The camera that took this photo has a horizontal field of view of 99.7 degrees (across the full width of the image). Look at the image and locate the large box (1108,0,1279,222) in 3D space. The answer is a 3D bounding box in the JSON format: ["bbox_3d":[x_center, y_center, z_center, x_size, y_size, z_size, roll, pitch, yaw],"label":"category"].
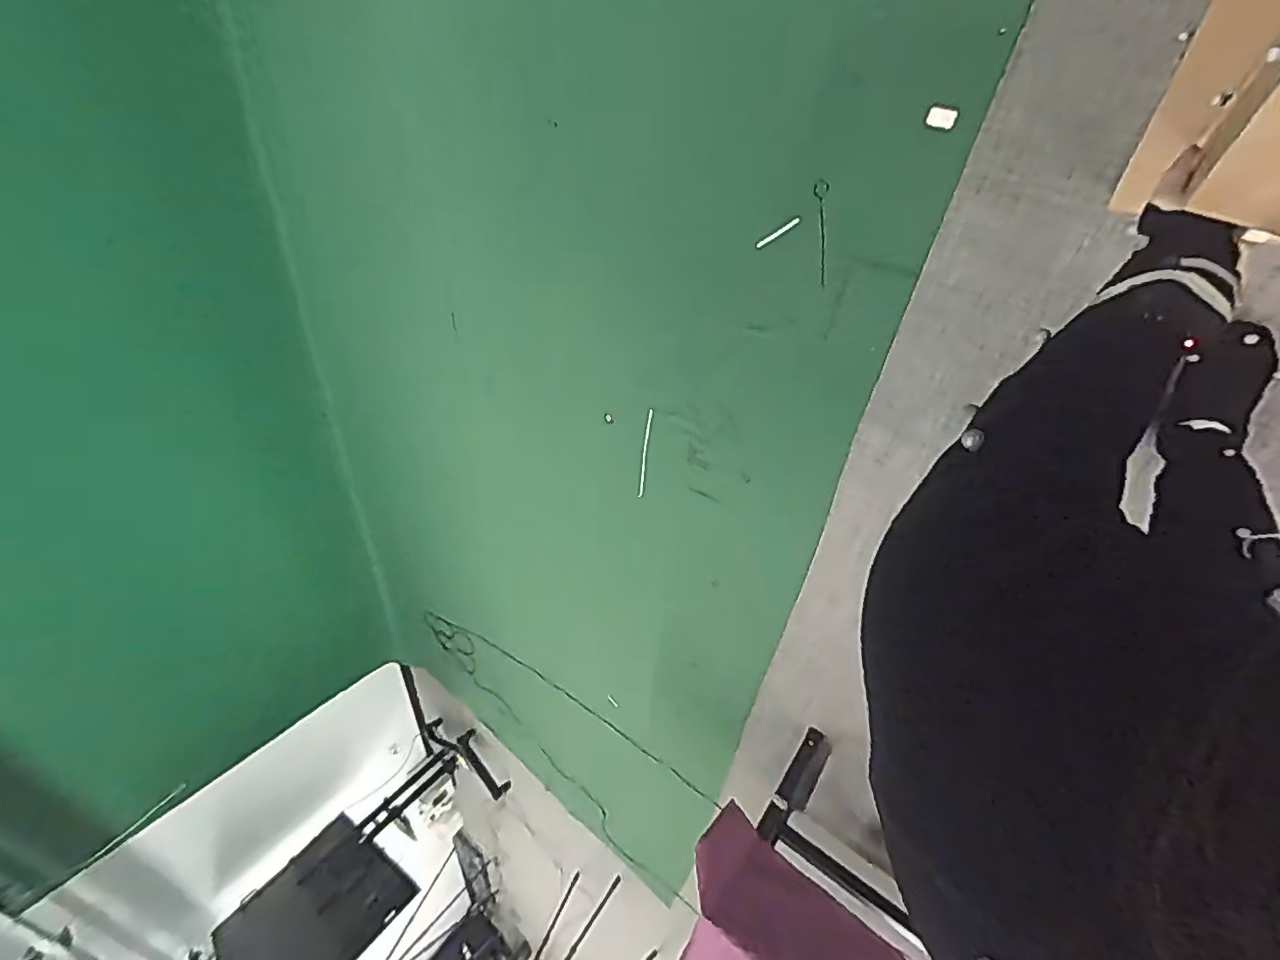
[{"bbox_3d":[0.850,-0.532,0.643,0.320,0.320,0.408,27,130,28],"label":"large box"}]

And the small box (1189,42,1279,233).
[{"bbox_3d":[0.544,-0.276,0.375,0.168,0.176,0.179,33,144,21],"label":"small box"}]

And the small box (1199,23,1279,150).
[{"bbox_3d":[0.691,-0.391,0.514,0.168,0.176,0.179,37,135,21],"label":"small box"}]
